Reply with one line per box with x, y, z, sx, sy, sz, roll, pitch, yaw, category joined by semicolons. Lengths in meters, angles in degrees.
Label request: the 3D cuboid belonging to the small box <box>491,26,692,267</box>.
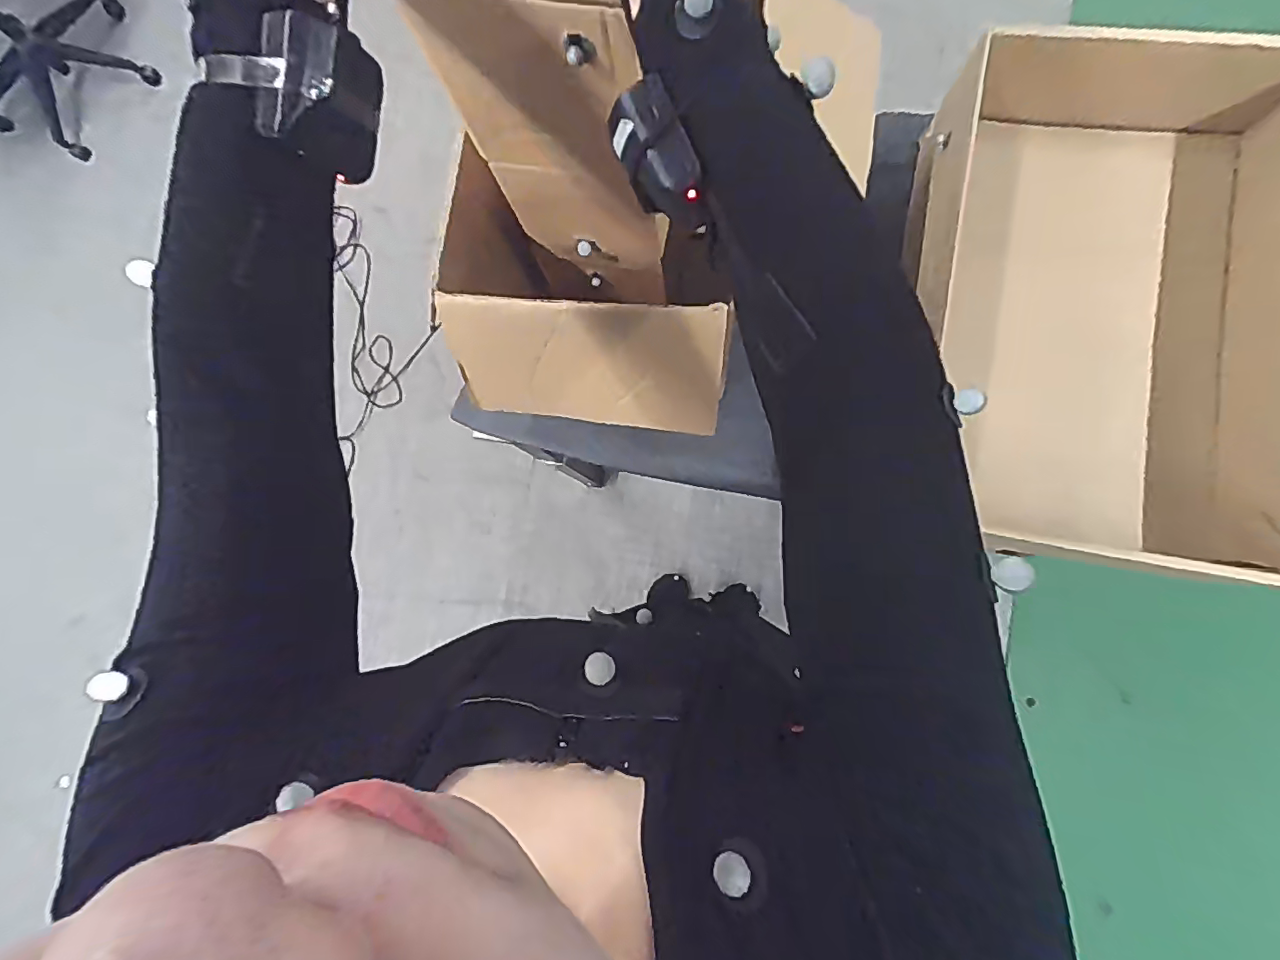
-0.041;-0.368;0.600;0.168;0.176;0.179;12;86;7;small box

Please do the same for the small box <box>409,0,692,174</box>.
-0.060;-0.384;0.441;0.179;0.176;0.168;13;85;7;small box
